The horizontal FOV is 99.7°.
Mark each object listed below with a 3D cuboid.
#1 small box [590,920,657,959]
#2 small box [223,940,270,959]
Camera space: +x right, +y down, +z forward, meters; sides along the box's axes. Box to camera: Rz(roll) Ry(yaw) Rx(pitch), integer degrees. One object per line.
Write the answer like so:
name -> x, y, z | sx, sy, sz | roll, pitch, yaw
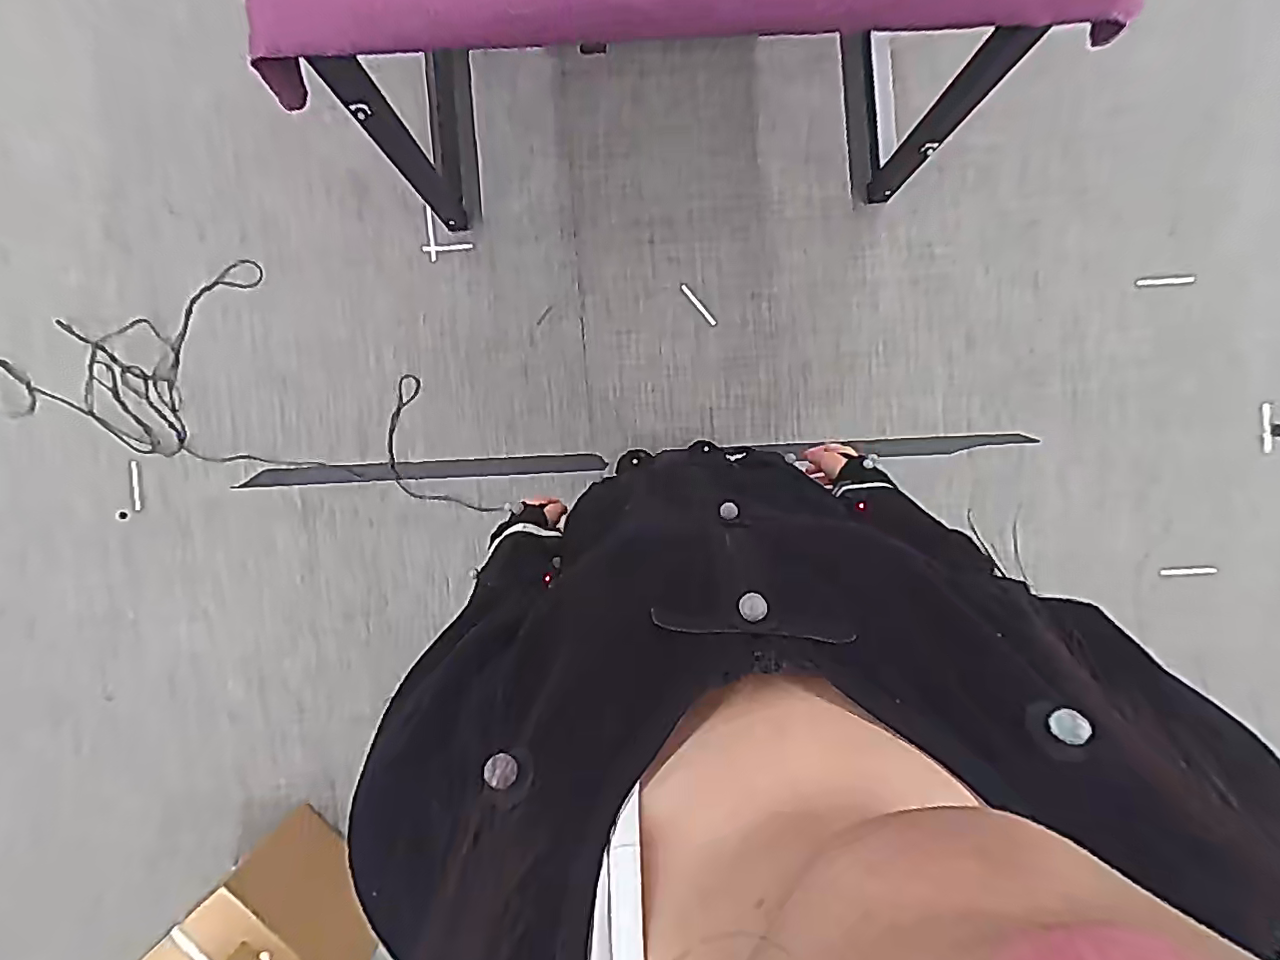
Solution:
small box -> -0.036, 1.351, 1.459 | 0.168, 0.176, 0.179 | -13, 92, -1
small box -> -0.904, 1.165, 1.159 | 0.179, 0.176, 0.168 | -45, 91, 1
